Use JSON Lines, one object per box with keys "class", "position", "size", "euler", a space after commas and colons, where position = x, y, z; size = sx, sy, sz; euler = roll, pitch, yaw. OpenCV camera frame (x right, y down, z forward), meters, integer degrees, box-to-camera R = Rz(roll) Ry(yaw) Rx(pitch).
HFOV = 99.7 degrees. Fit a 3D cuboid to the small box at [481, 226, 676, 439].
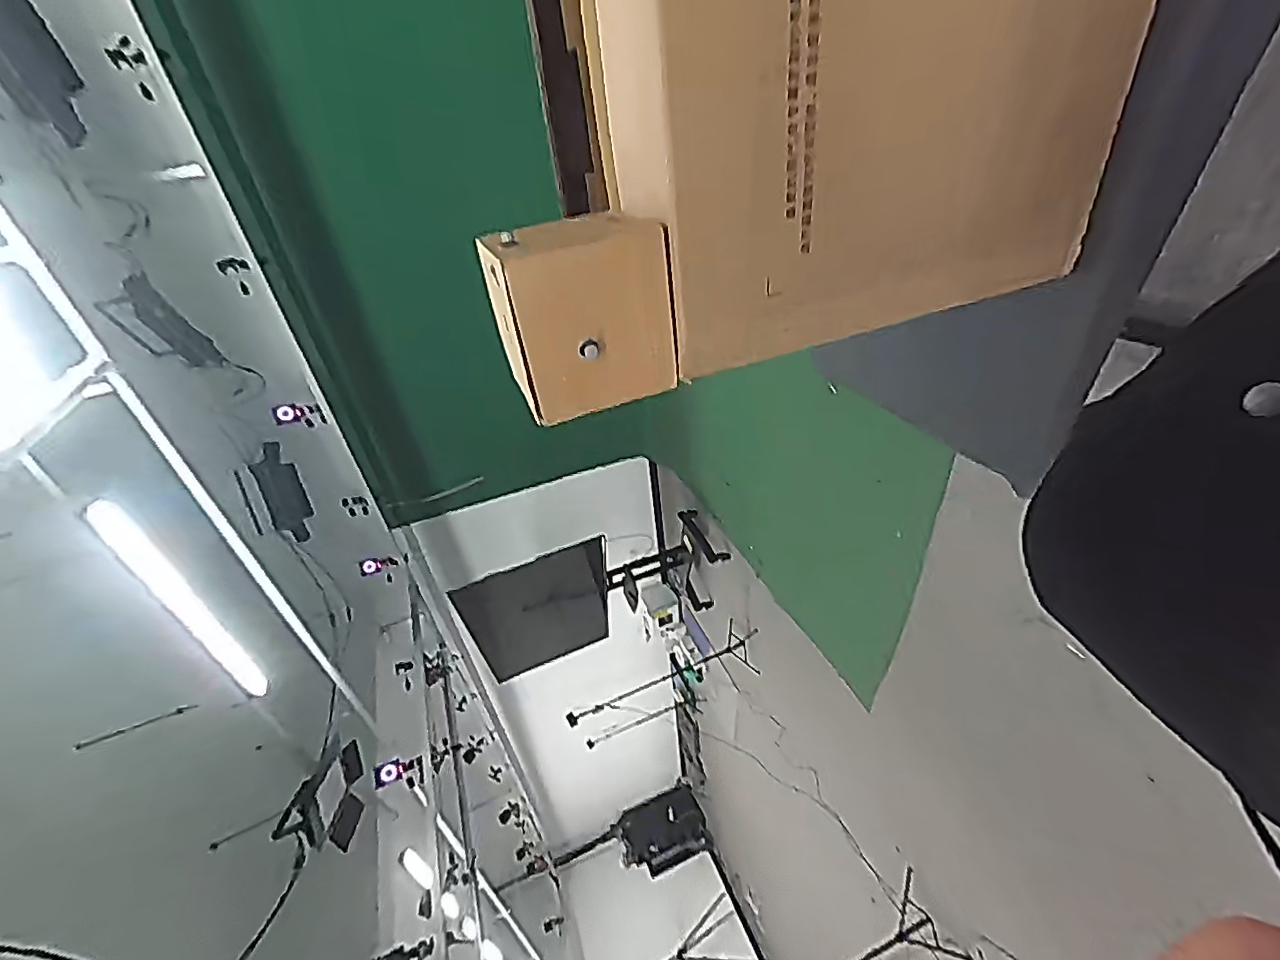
{"class": "small box", "position": [-0.067, -0.179, 0.632], "size": [0.168, 0.176, 0.179], "euler": [-130, 25, -52]}
